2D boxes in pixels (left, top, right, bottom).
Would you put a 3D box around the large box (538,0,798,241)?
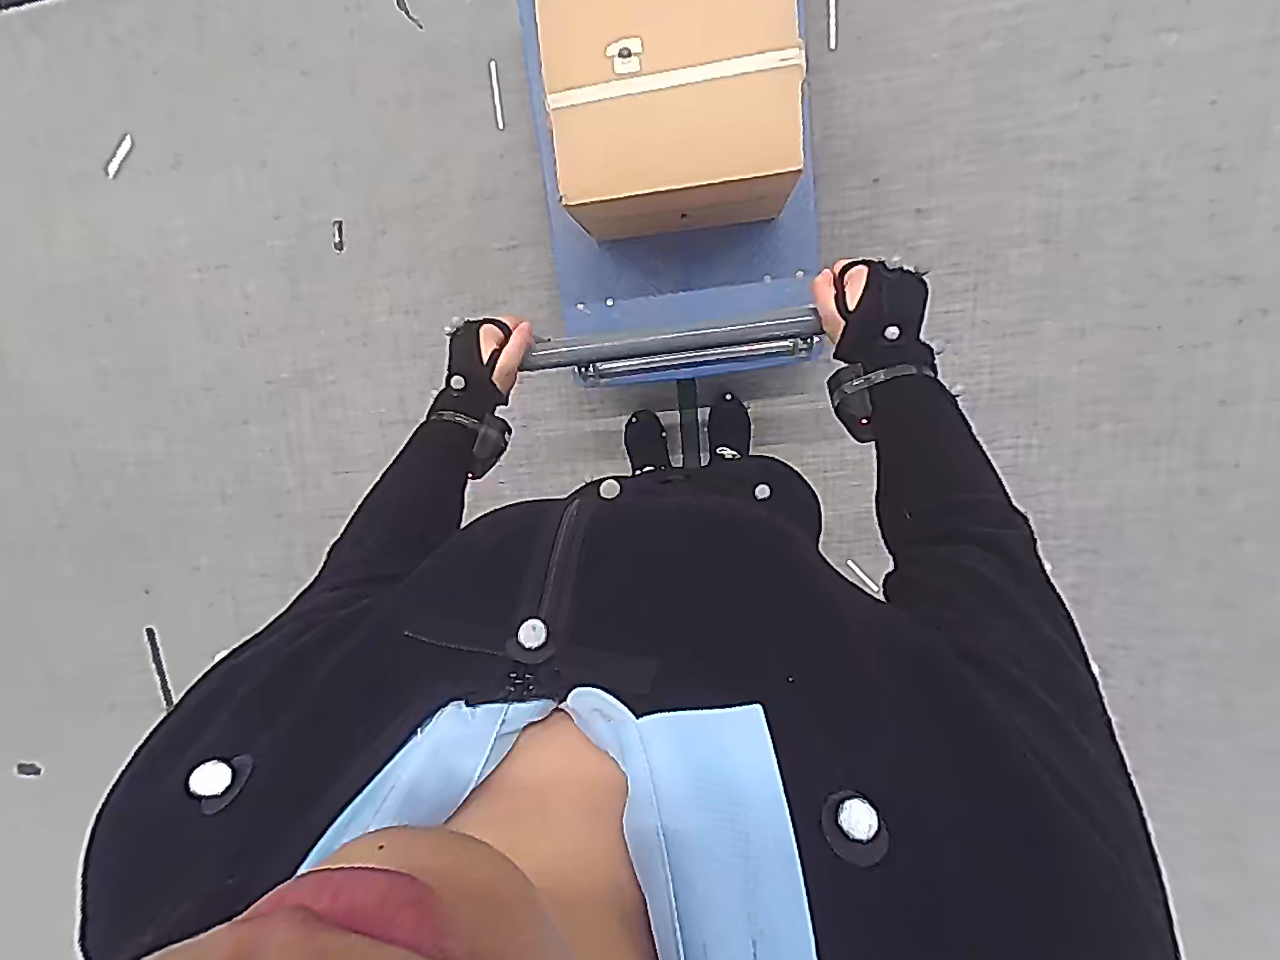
[{"bbox_3d":[0.065,-0.669,1.020,0.408,0.320,0.320,-5,101,9],"label":"large box"}]
